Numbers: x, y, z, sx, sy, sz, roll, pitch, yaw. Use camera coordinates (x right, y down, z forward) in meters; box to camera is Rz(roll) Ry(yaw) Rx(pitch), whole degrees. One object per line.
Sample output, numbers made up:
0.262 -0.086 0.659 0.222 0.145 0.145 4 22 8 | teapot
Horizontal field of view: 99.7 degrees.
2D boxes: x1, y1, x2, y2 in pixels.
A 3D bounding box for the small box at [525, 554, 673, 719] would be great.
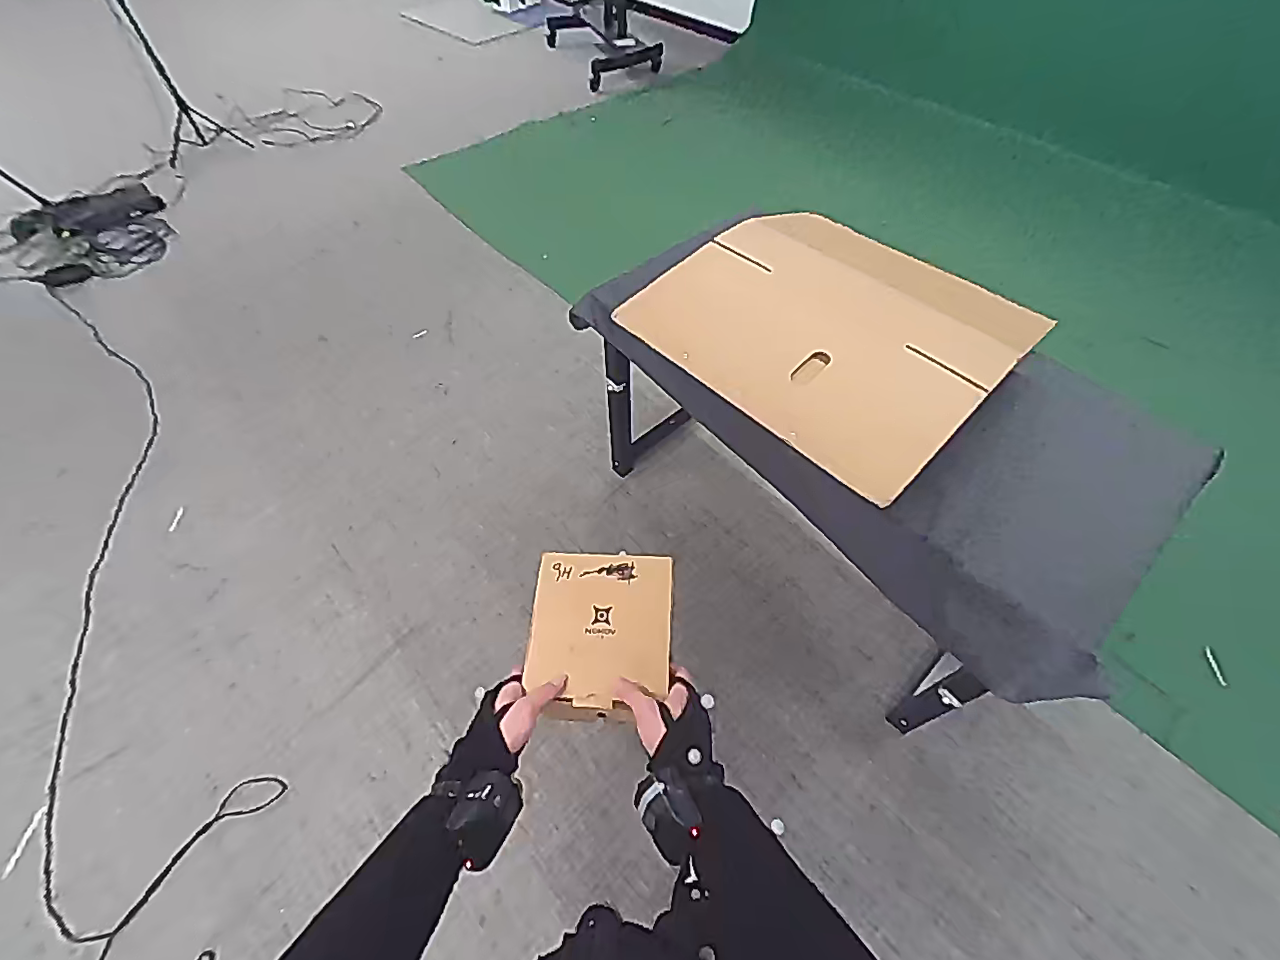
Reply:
-0.041 0.210 0.708 0.168 0.176 0.179 -1 58 3 | small box
